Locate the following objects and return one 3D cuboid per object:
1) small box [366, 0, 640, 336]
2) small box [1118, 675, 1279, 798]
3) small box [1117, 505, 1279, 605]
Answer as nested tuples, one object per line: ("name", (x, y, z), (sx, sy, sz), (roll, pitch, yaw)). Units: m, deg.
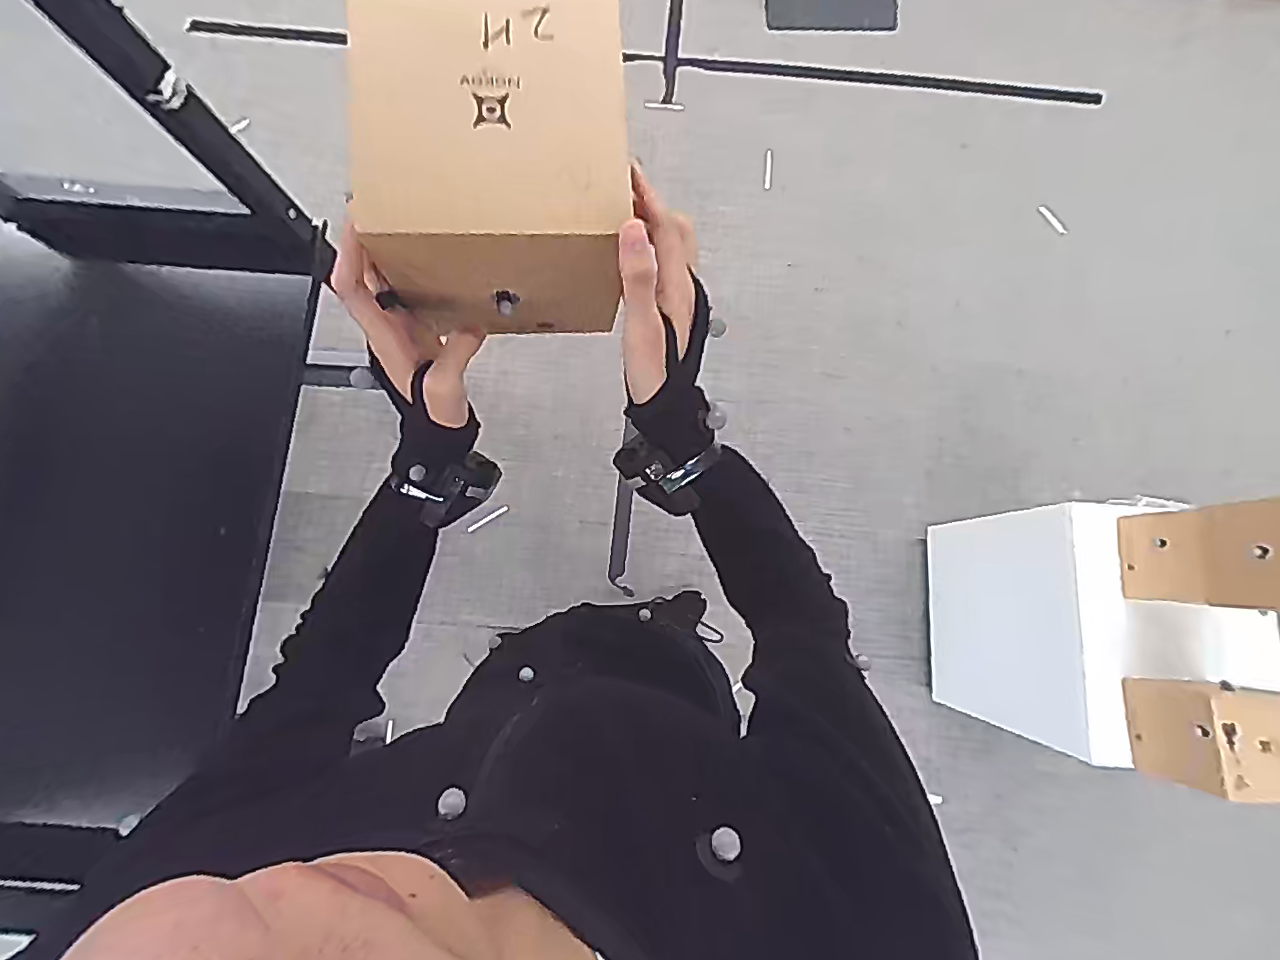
("small box", (-0.094, -0.220, 0.415), (0.168, 0.176, 0.179), (-3, 84, -9))
("small box", (1.017, 0.446, 0.963), (0.179, 0.176, 0.168), (2, 78, -2))
("small box", (1.050, 0.145, 1.021), (0.179, 0.176, 0.168), (5, 80, -1))
